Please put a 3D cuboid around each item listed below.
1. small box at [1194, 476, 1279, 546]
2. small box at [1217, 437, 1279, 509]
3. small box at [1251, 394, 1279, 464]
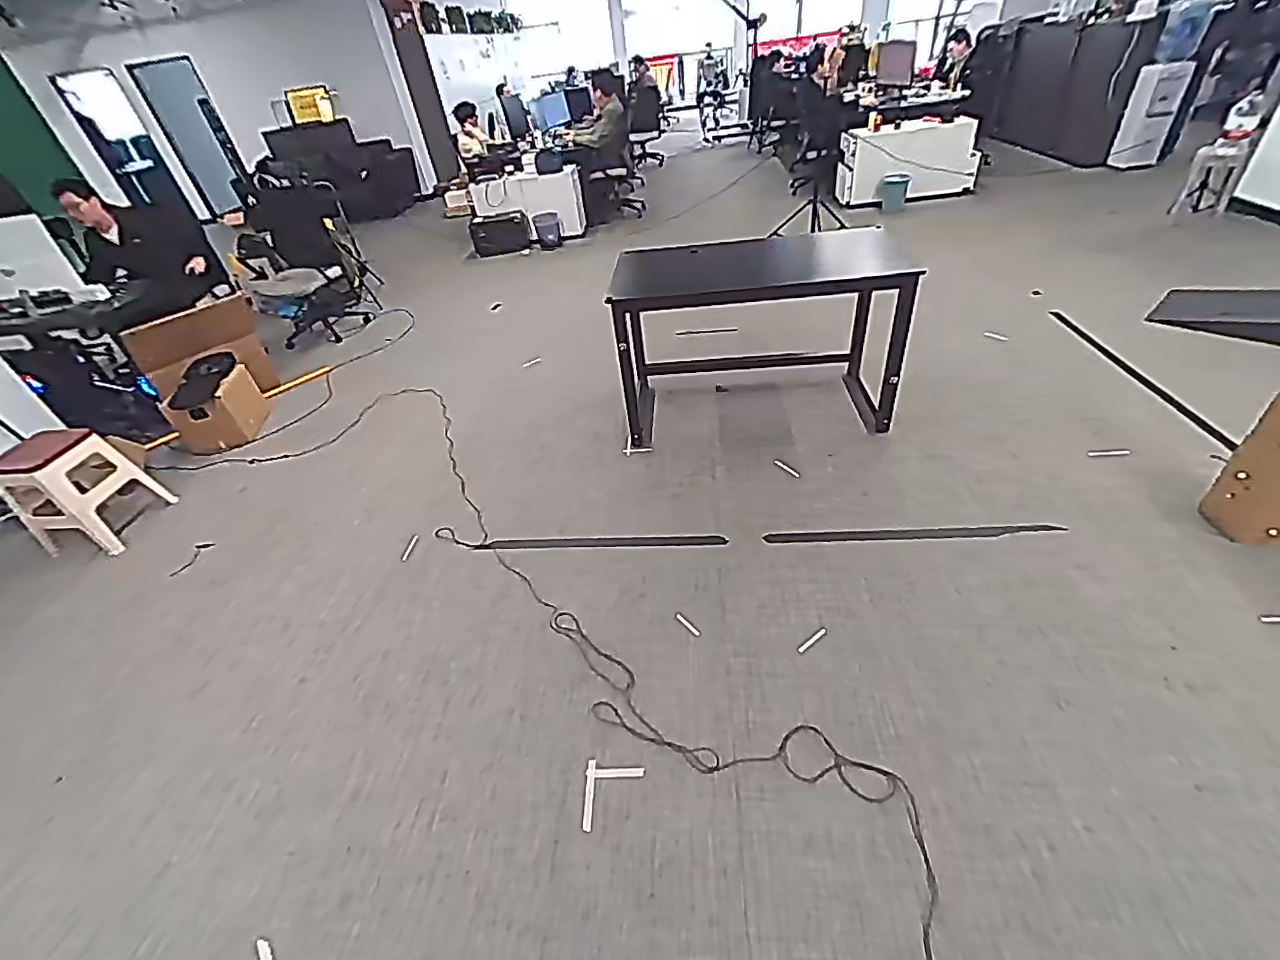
[{"bbox_3d":[2.029,0.102,1.802,0.168,0.176,0.179,-3,40,8],"label":"small box"},{"bbox_3d":[2.003,-0.022,1.697,0.179,0.176,0.168,-3,39,8],"label":"small box"},{"bbox_3d":[1.985,-0.145,1.593,0.179,0.176,0.168,-3,41,6],"label":"small box"}]
